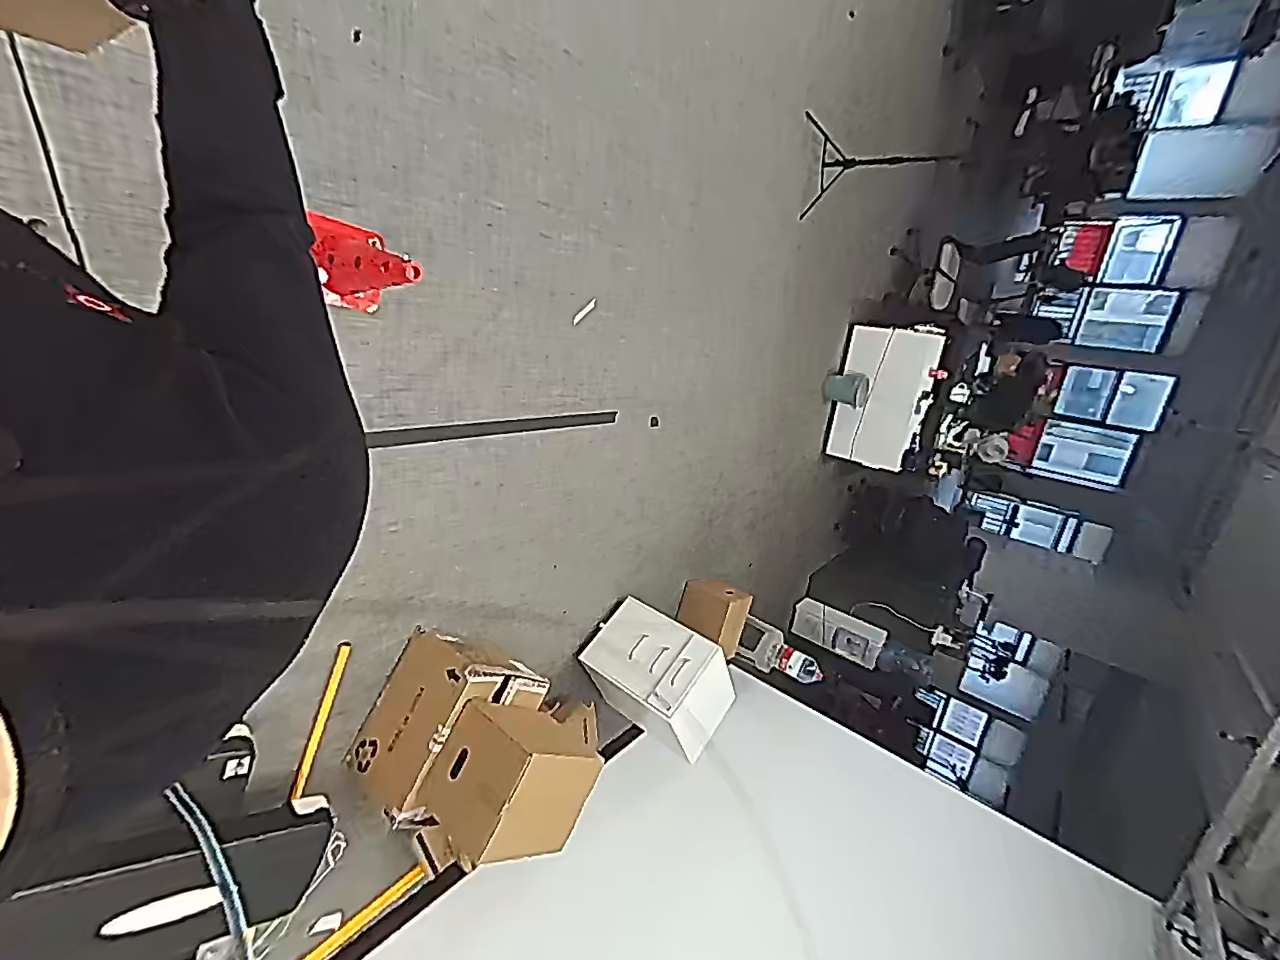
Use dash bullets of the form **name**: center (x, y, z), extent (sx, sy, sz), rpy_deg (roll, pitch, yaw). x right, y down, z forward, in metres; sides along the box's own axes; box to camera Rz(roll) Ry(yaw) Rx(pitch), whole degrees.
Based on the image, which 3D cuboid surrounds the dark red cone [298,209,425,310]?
- **dark red cone**: center (-0.599, -0.482, 1.222), extent (0.201, 0.394, 0.202), rpy_deg (-4, 109, -51)

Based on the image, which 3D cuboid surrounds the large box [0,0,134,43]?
- **large box**: center (-0.546, -0.487, 0.253), extent (0.408, 0.320, 0.320), rpy_deg (-13, 122, -49)
